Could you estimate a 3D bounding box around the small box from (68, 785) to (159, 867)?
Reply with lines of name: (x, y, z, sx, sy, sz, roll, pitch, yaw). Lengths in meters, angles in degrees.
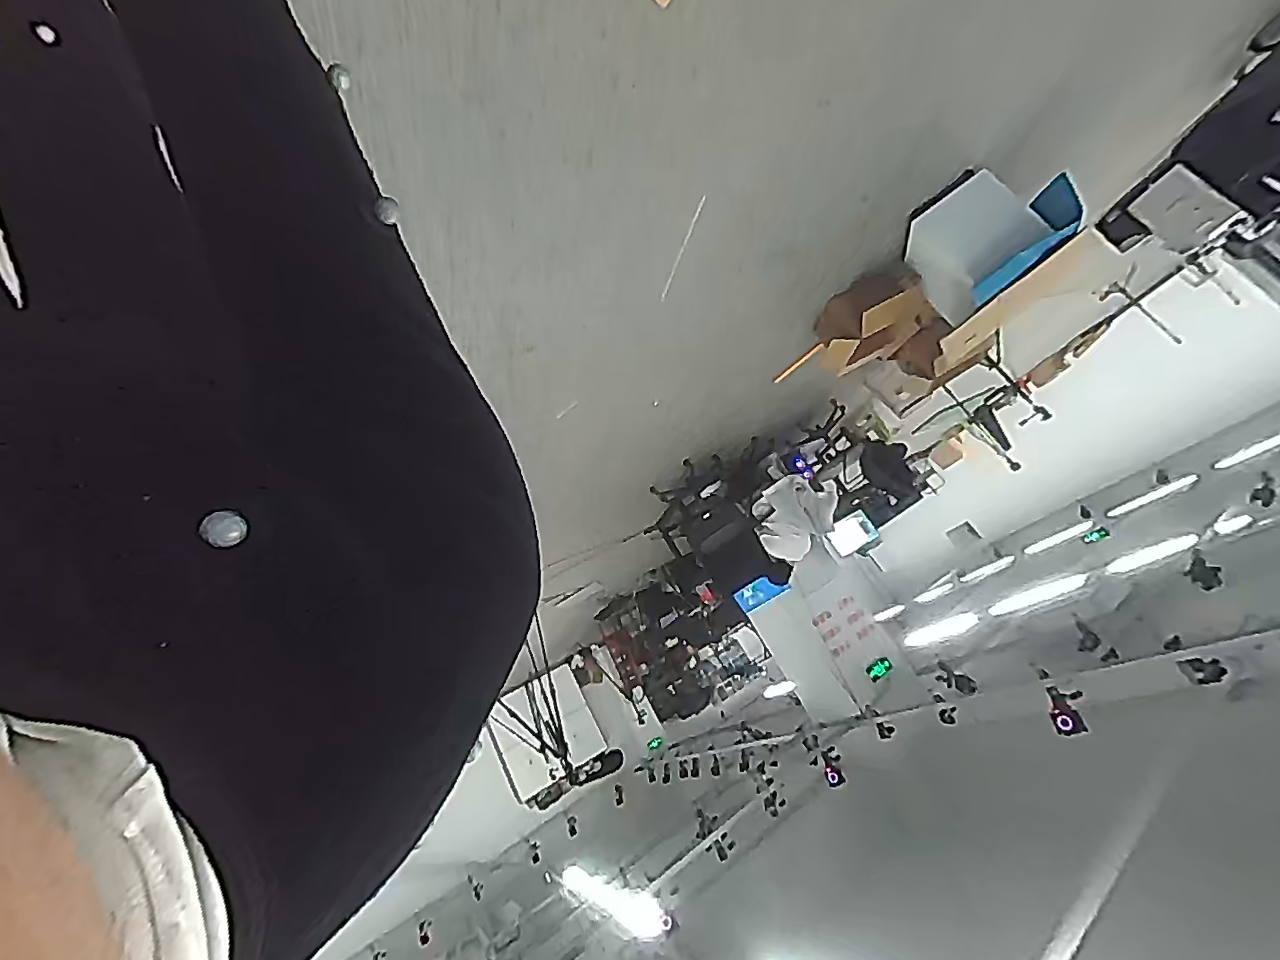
small box: (-1.728, 1.133, 1.778, 0.168, 0.176, 0.179, -20, 158, -35)
